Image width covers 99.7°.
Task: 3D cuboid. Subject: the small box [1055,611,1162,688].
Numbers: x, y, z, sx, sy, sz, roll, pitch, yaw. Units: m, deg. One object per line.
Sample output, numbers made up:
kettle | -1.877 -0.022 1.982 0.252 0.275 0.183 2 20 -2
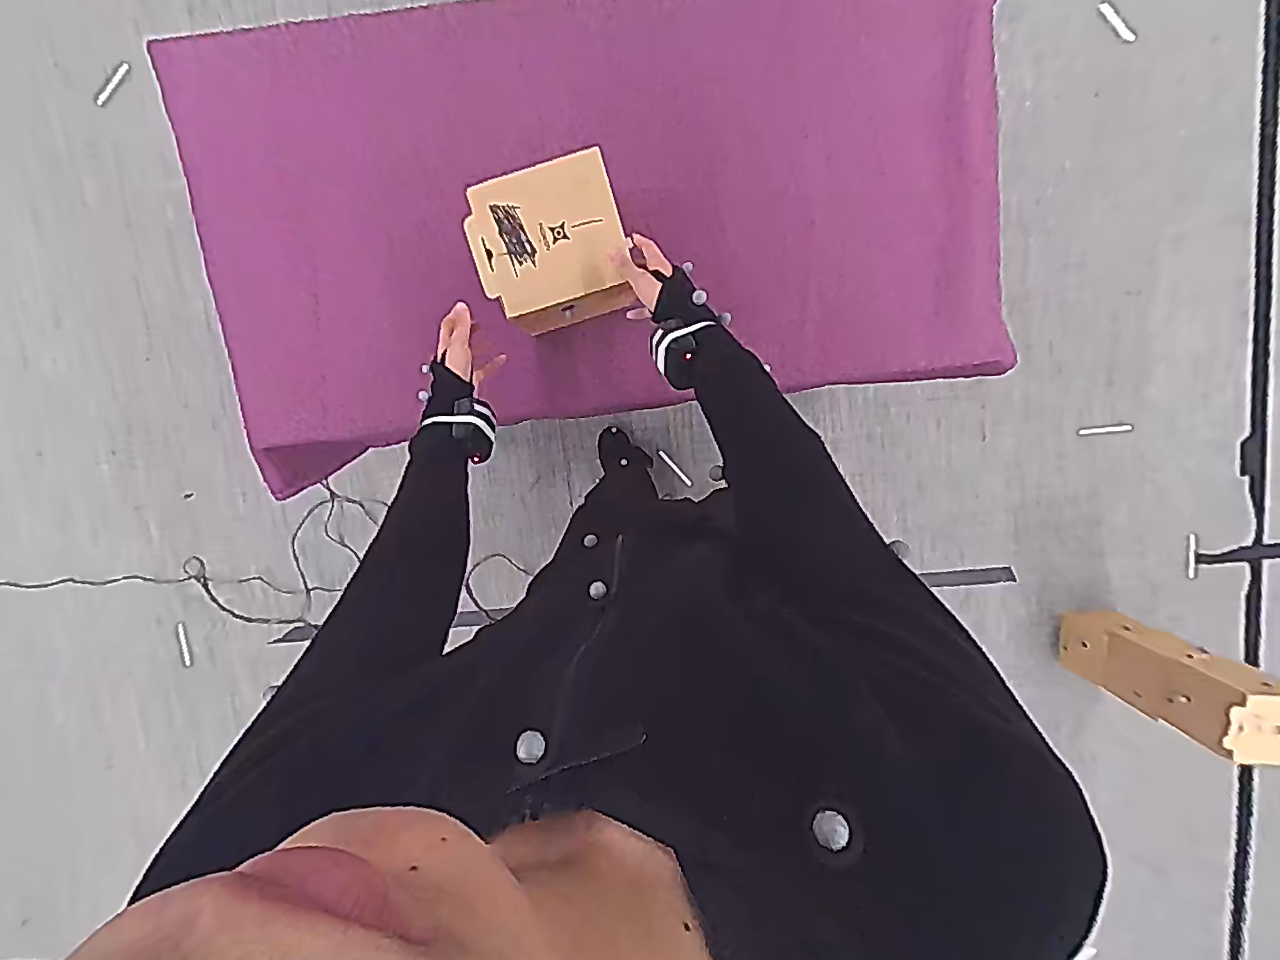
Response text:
small box | 1.384 0.500 1.609 0.179 0.176 0.168 -2 98 0

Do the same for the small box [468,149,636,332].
small box | -0.109 -0.316 0.754 0.179 0.176 0.168 -17 98 2

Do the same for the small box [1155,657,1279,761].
small box | 1.398 0.535 1.280 0.179 0.176 0.168 4 99 0
